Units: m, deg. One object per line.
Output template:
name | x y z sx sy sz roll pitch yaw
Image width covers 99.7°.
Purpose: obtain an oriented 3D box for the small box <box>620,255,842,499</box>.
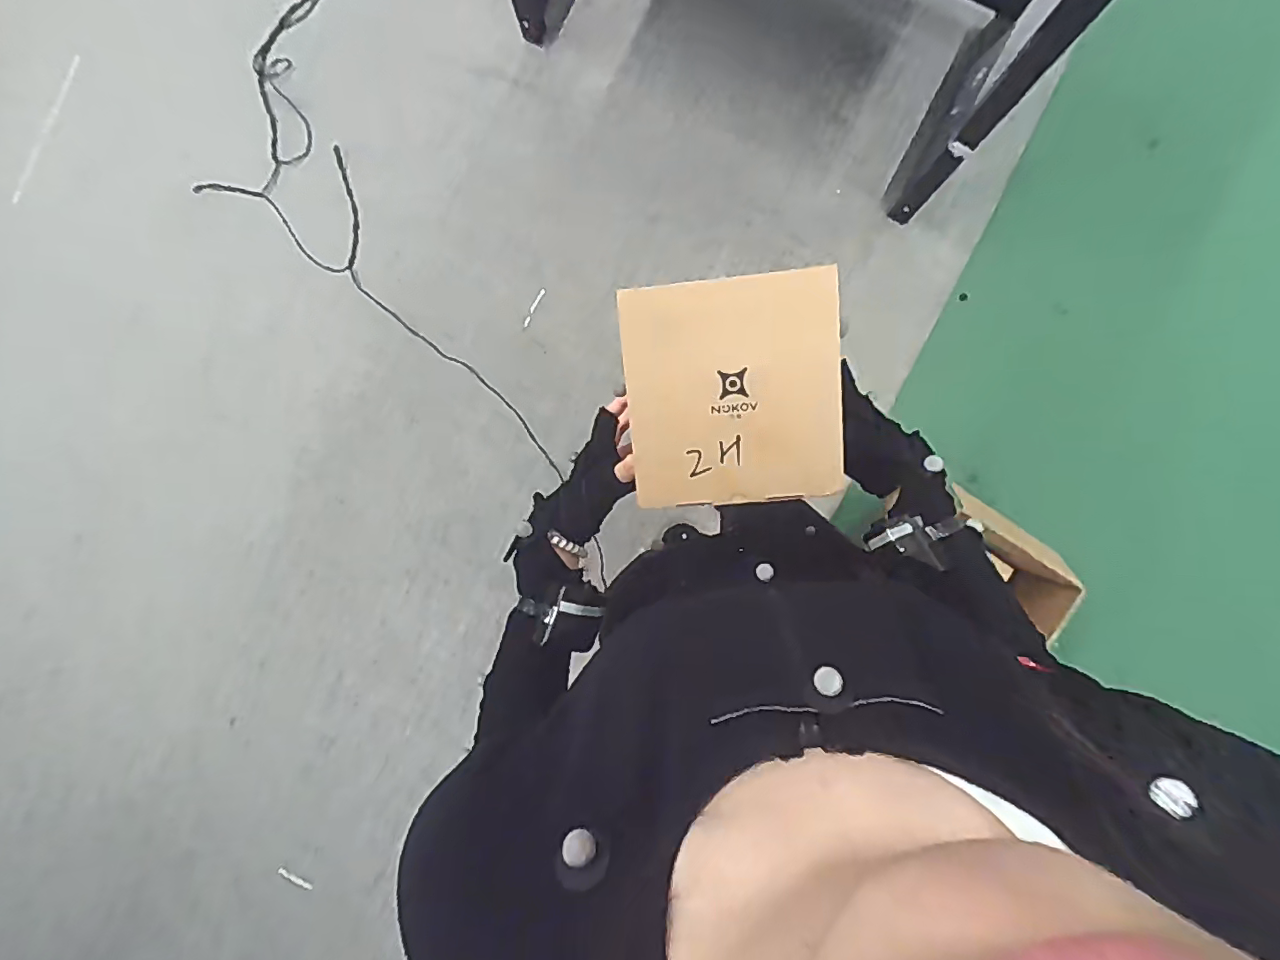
small box | 0.077 -0.088 0.493 0.168 0.176 0.179 -4 101 6
